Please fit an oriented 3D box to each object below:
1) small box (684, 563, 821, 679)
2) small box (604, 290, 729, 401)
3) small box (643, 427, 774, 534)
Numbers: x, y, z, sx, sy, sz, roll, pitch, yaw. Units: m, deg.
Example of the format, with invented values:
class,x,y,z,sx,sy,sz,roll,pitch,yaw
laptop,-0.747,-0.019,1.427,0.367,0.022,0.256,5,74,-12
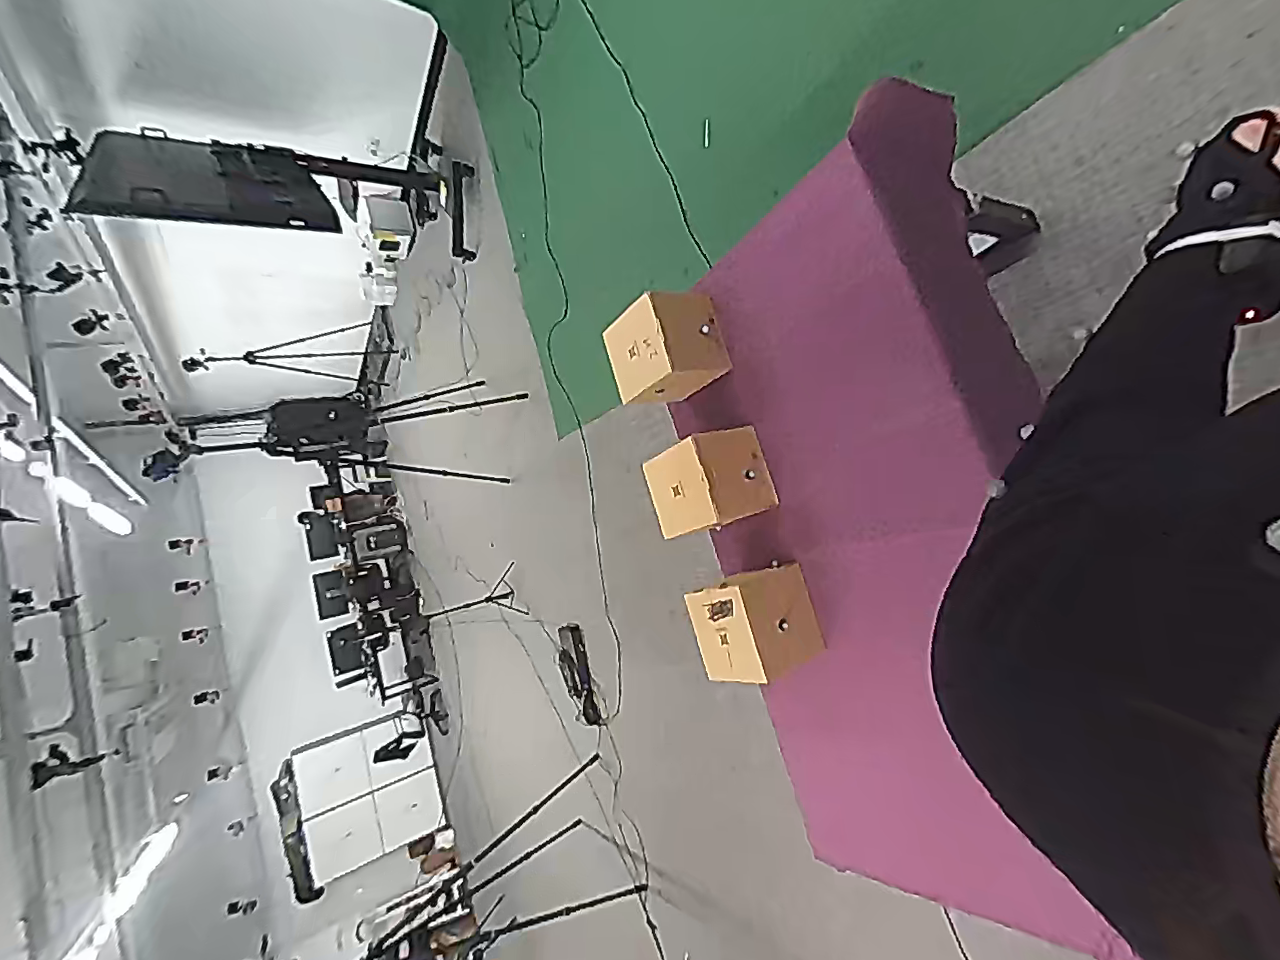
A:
class,x,y,z,sx,sy,sz,roll,pitch,yaw
small box,0.218,0.267,1.050,0.168,0.176,0.179,-26,78,54
small box,0.055,-0.274,1.129,0.179,0.176,0.168,-24,80,52
small box,0.138,0.001,1.096,0.179,0.176,0.168,-29,75,53
